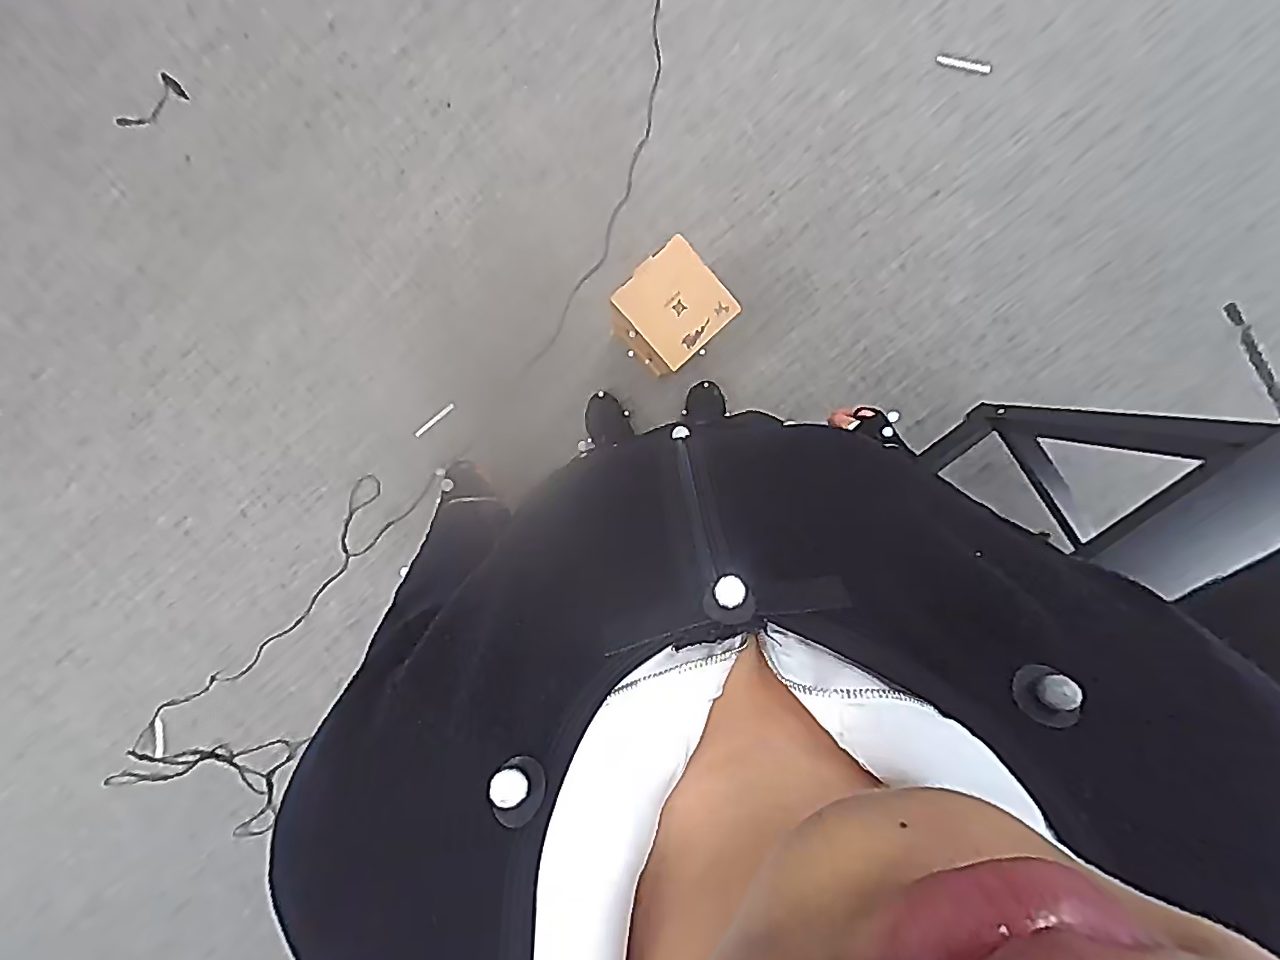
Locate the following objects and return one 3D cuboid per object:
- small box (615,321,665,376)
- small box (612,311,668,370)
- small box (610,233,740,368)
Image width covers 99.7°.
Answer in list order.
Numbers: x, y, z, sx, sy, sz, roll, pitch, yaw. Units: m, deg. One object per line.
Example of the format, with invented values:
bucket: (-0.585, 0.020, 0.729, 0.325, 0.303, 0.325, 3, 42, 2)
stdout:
small box: (0.052, -0.381, 1.353, 0.179, 0.176, 0.168, -42, 98, 7)
small box: (0.057, -0.359, 1.192, 0.168, 0.176, 0.179, 44, 95, -9)
small box: (0.061, -0.327, 1.031, 0.168, 0.176, 0.179, -42, 98, 6)
